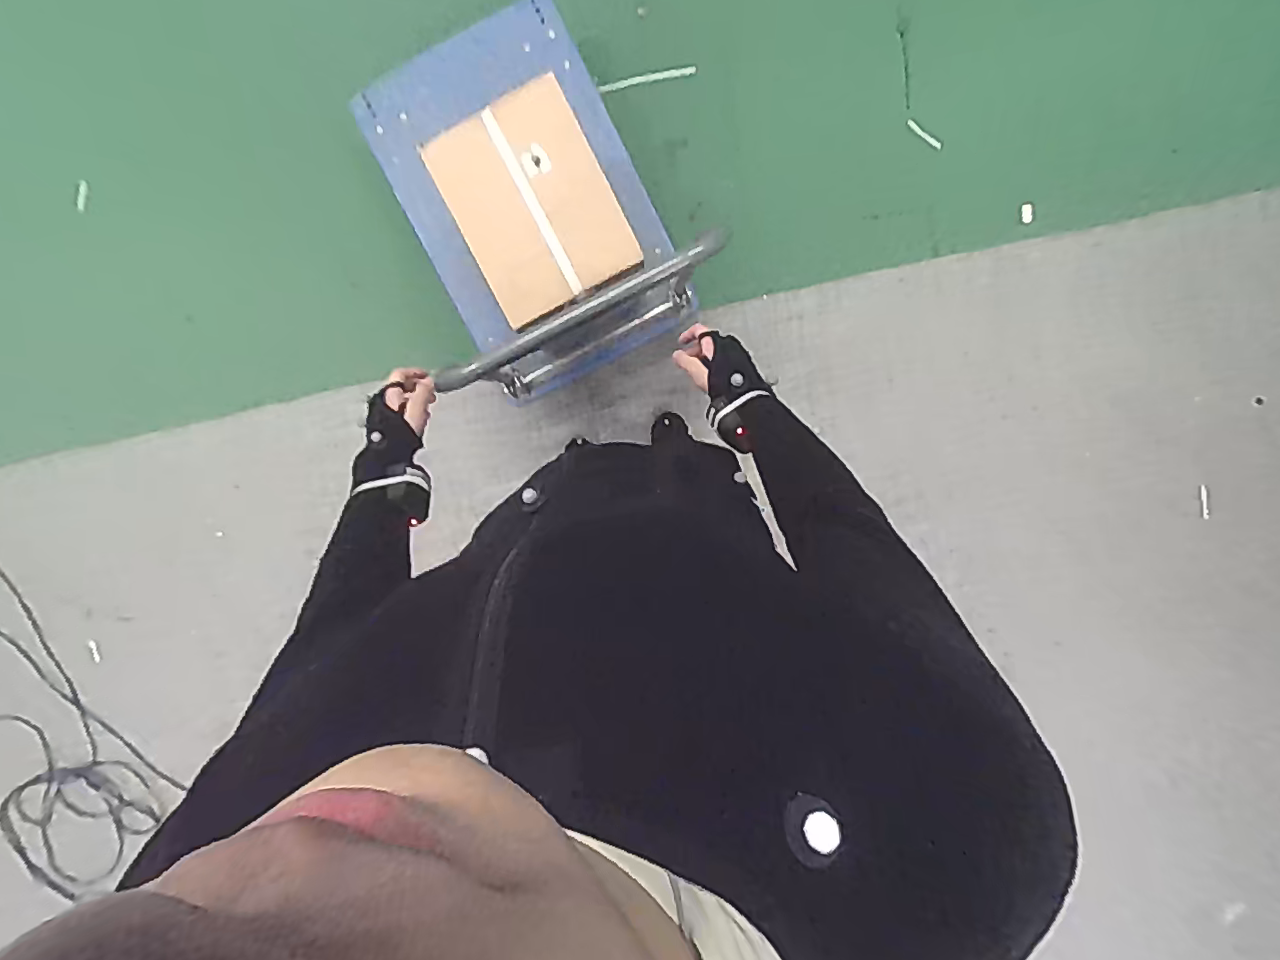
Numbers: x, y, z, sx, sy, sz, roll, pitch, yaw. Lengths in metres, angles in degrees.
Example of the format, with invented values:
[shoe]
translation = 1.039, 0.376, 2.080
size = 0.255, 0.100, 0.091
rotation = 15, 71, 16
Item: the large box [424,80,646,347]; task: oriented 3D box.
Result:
[large box]
translation = -0.211, -0.574, 1.254
size = 0.320, 0.320, 0.408
rotation = -27, 95, 3
